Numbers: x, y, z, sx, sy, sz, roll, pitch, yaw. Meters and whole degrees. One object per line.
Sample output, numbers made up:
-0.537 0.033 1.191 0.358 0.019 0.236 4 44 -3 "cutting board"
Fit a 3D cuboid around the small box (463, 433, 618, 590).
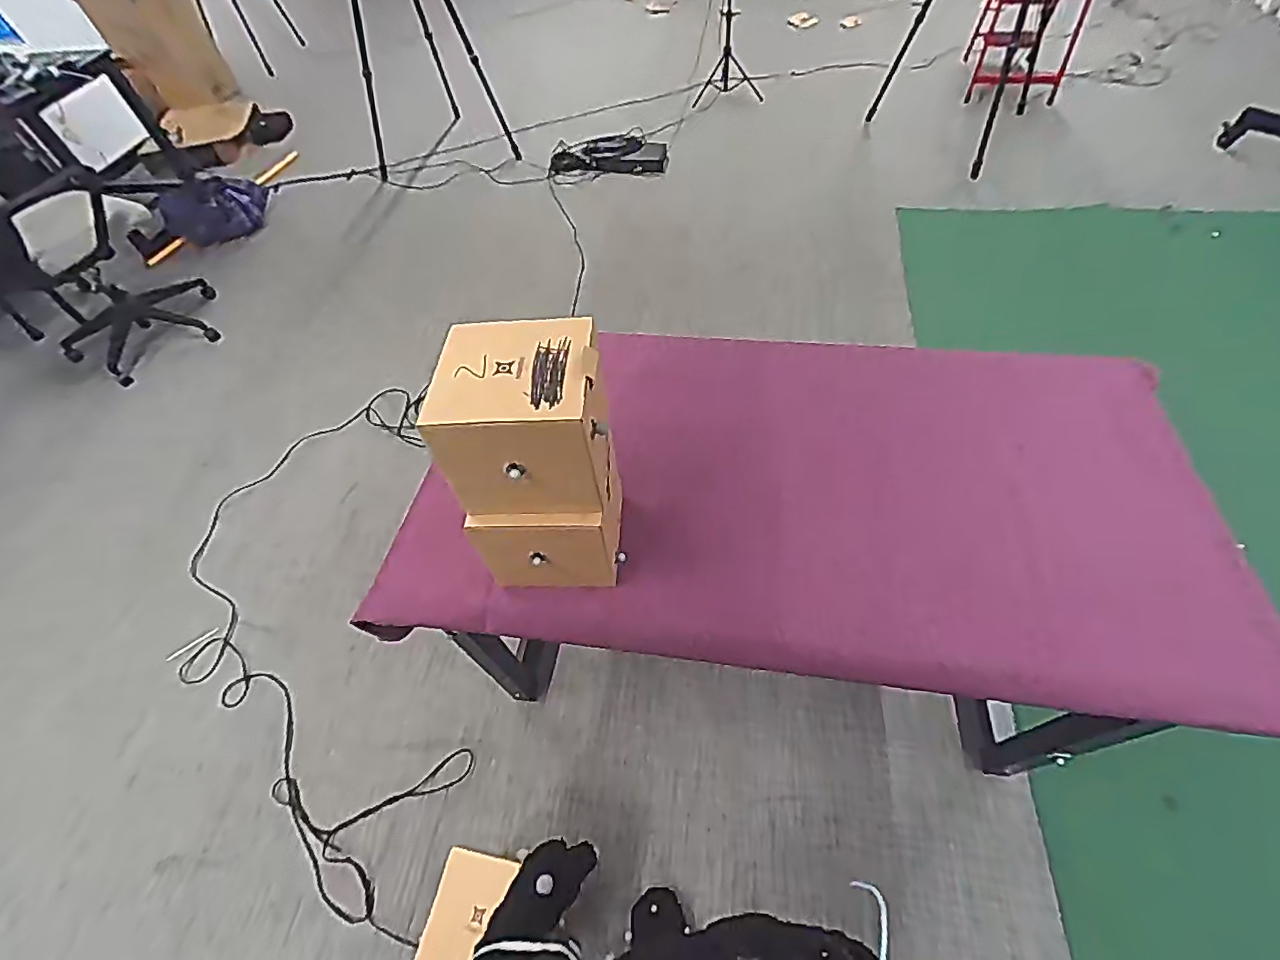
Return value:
-0.127 0.049 0.778 0.179 0.176 0.168 0 53 4 "small box"
